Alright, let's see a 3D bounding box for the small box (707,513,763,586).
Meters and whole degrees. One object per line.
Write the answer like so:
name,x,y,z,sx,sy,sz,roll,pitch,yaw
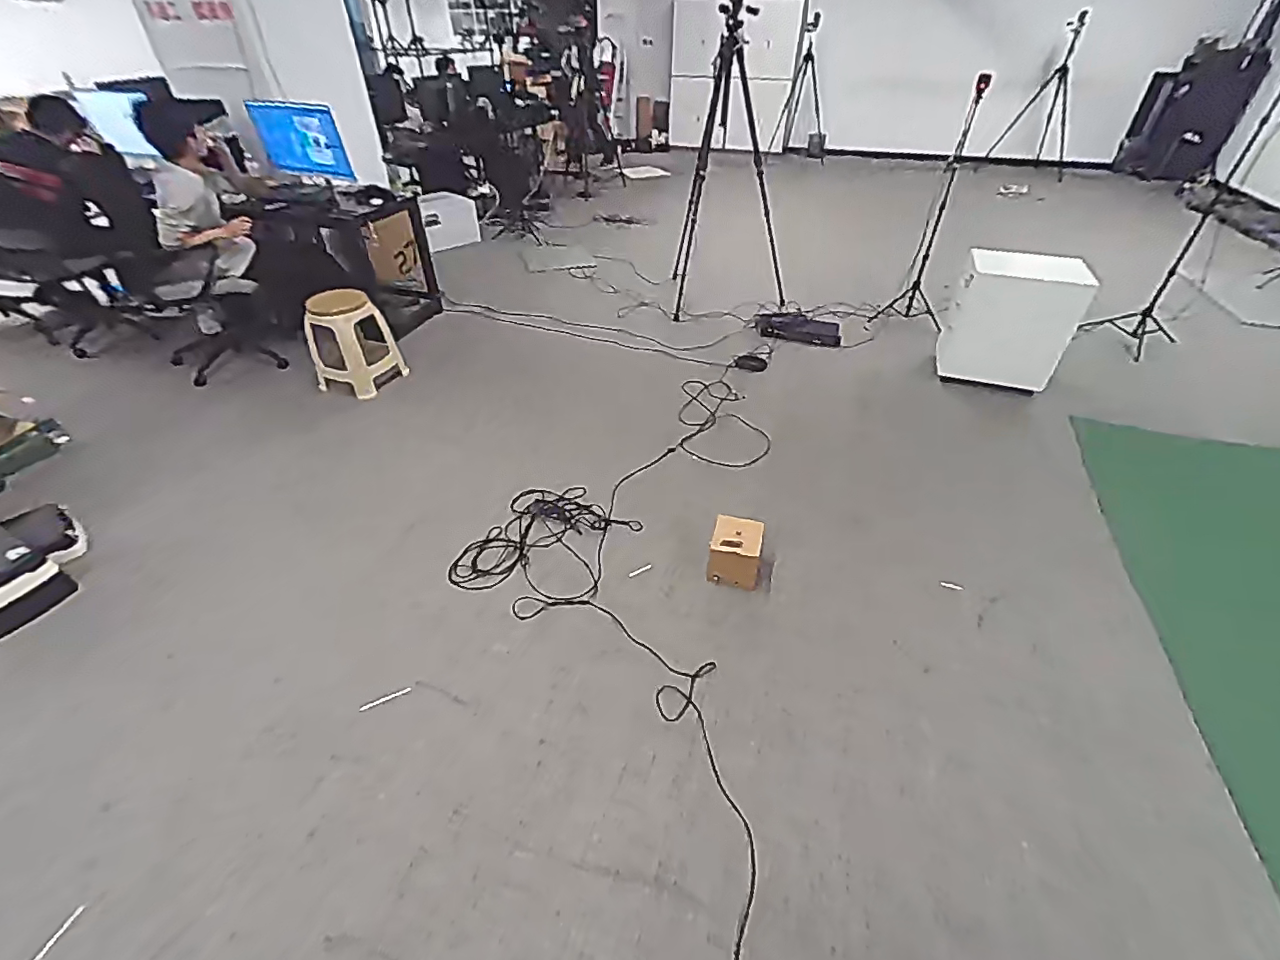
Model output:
small box,0.334,0.248,1.906,0.168,0.176,0.179,10,41,12
